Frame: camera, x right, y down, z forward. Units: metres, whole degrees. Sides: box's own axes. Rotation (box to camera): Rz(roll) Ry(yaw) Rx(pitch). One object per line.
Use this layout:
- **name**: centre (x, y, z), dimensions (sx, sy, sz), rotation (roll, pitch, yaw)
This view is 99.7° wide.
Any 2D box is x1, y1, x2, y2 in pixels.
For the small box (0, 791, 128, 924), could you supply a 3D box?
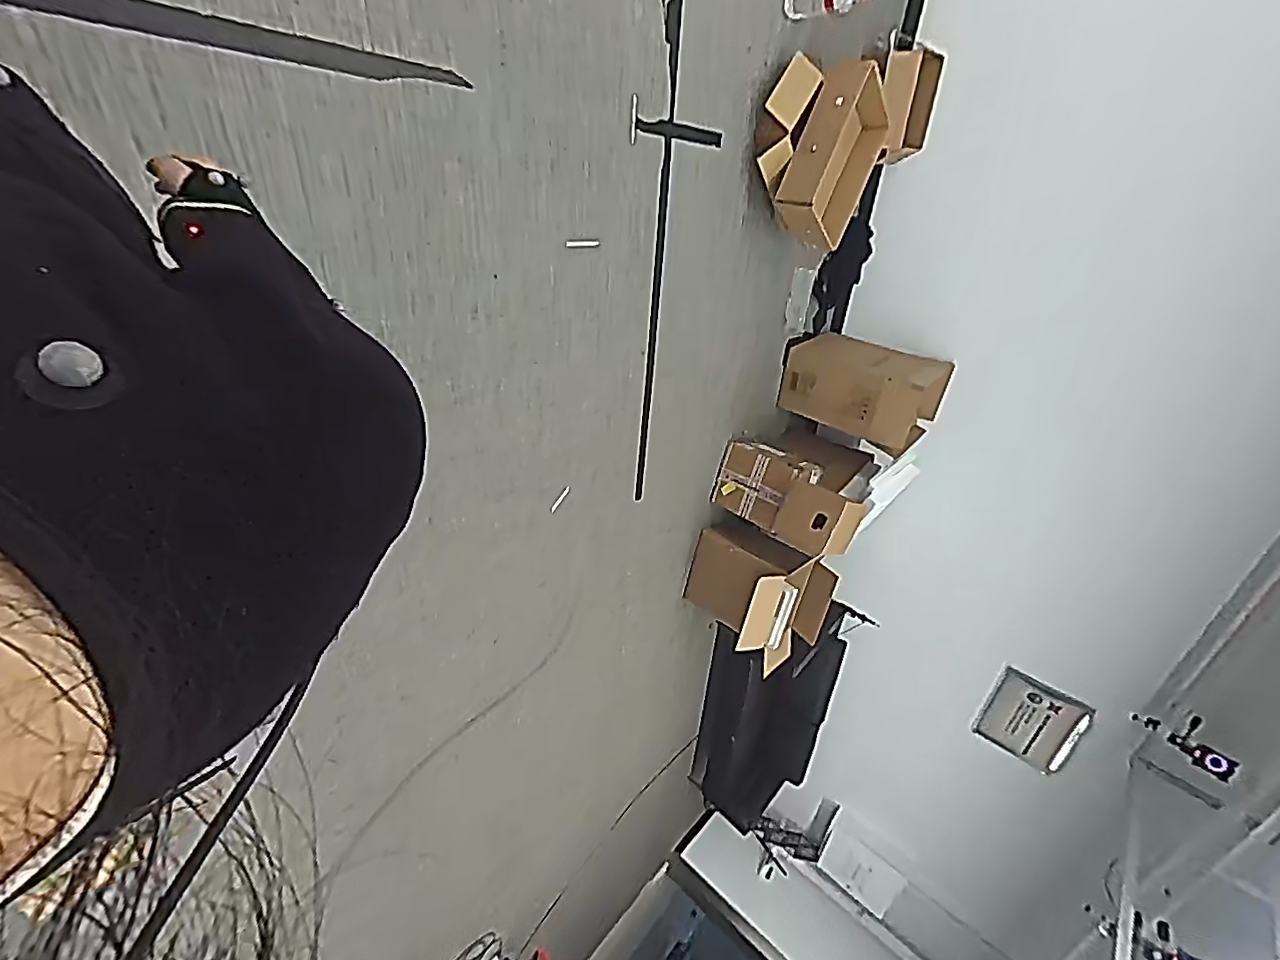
- **small box**: centre (-1.398, 0.905, 1.313), dimensions (0.168, 0.176, 0.179), rotation (-27, 133, -41)
